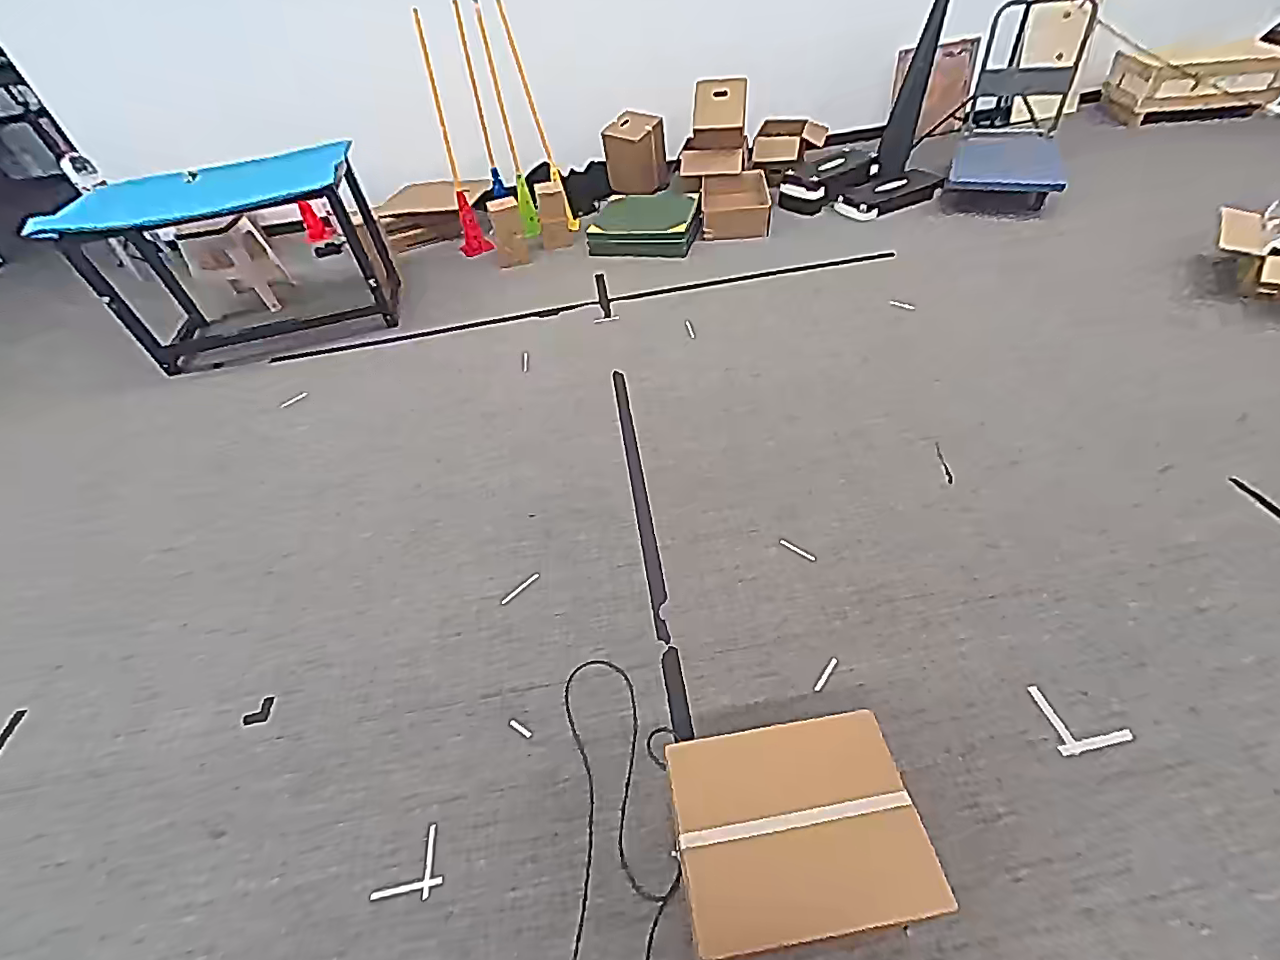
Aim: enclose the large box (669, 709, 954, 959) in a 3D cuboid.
[{"bbox_3d":[0.284,0.683,1.034,0.408,0.320,0.320,-9,45,-3],"label":"large box"}]
